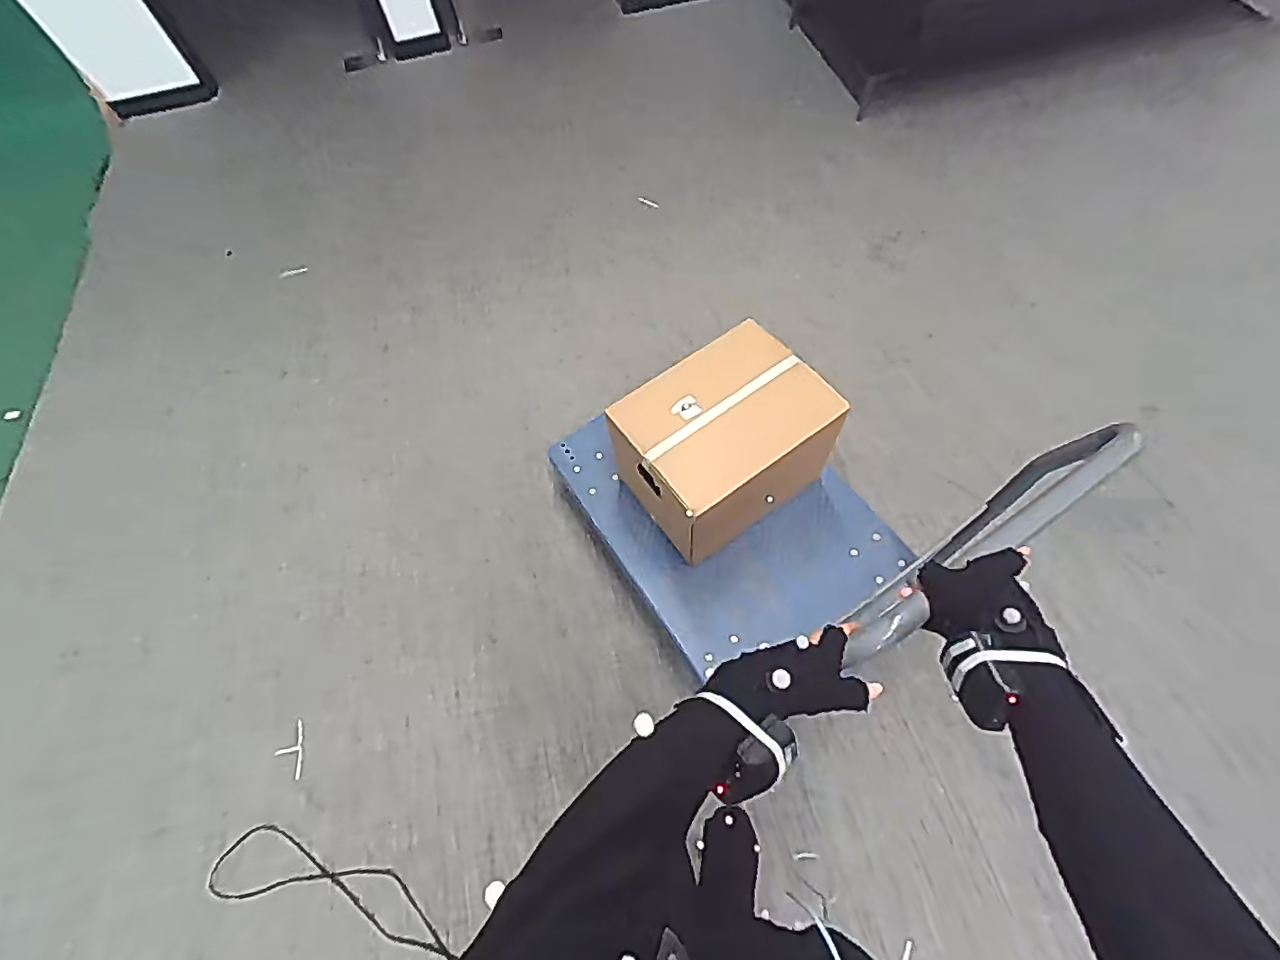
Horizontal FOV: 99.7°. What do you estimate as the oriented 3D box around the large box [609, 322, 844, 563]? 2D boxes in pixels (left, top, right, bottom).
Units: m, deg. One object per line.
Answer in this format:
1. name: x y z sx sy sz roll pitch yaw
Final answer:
1. large box: 0.191 -0.078 1.259 0.408 0.320 0.320 -35 65 -12
